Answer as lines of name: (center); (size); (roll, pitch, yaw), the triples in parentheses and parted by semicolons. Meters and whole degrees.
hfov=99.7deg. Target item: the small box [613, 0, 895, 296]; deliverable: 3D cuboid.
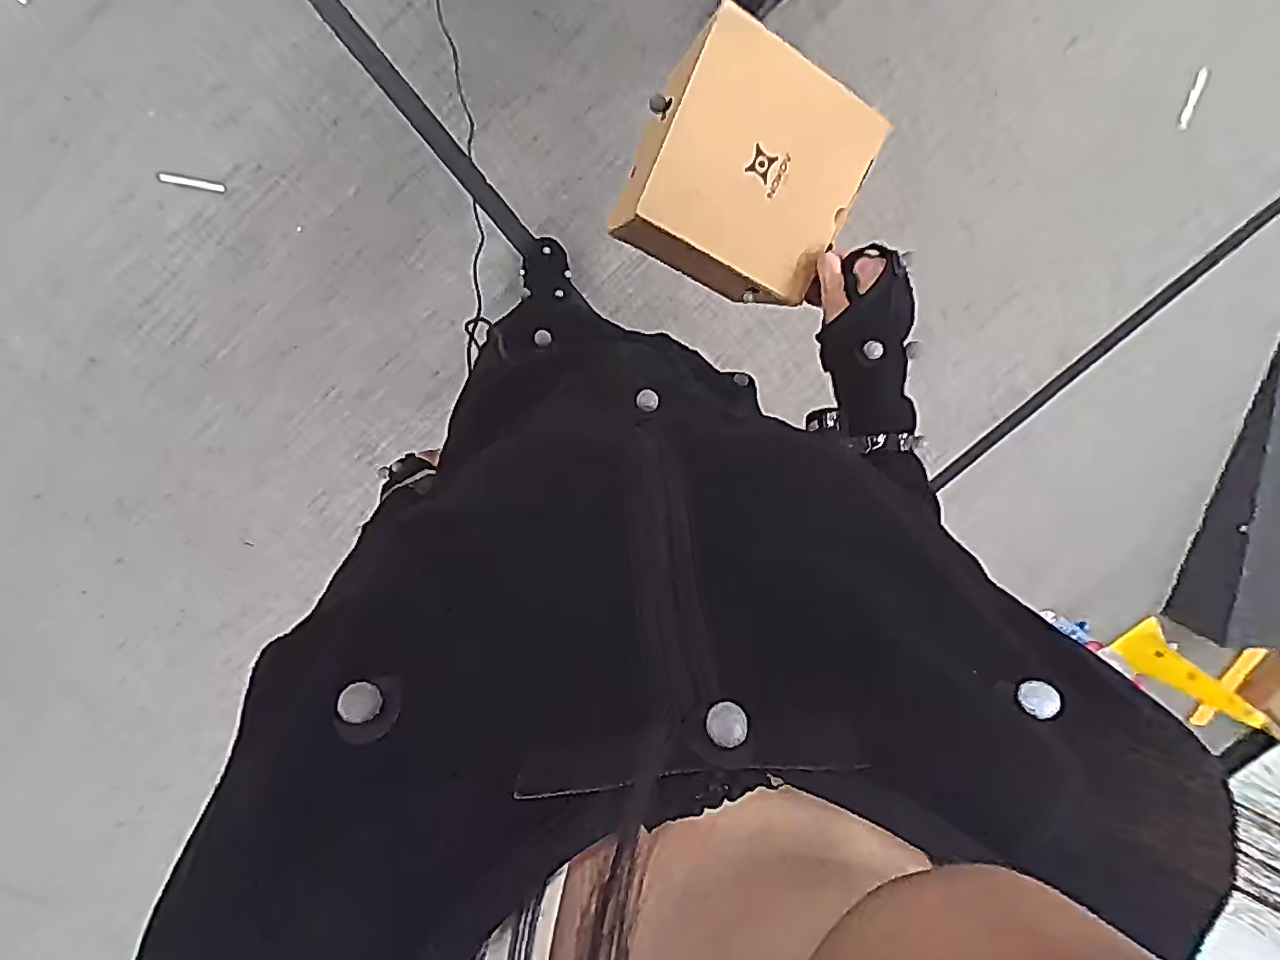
small box: (0.089, -0.289, 0.517); (0.179, 0.176, 0.168); (20, 104, -19)
